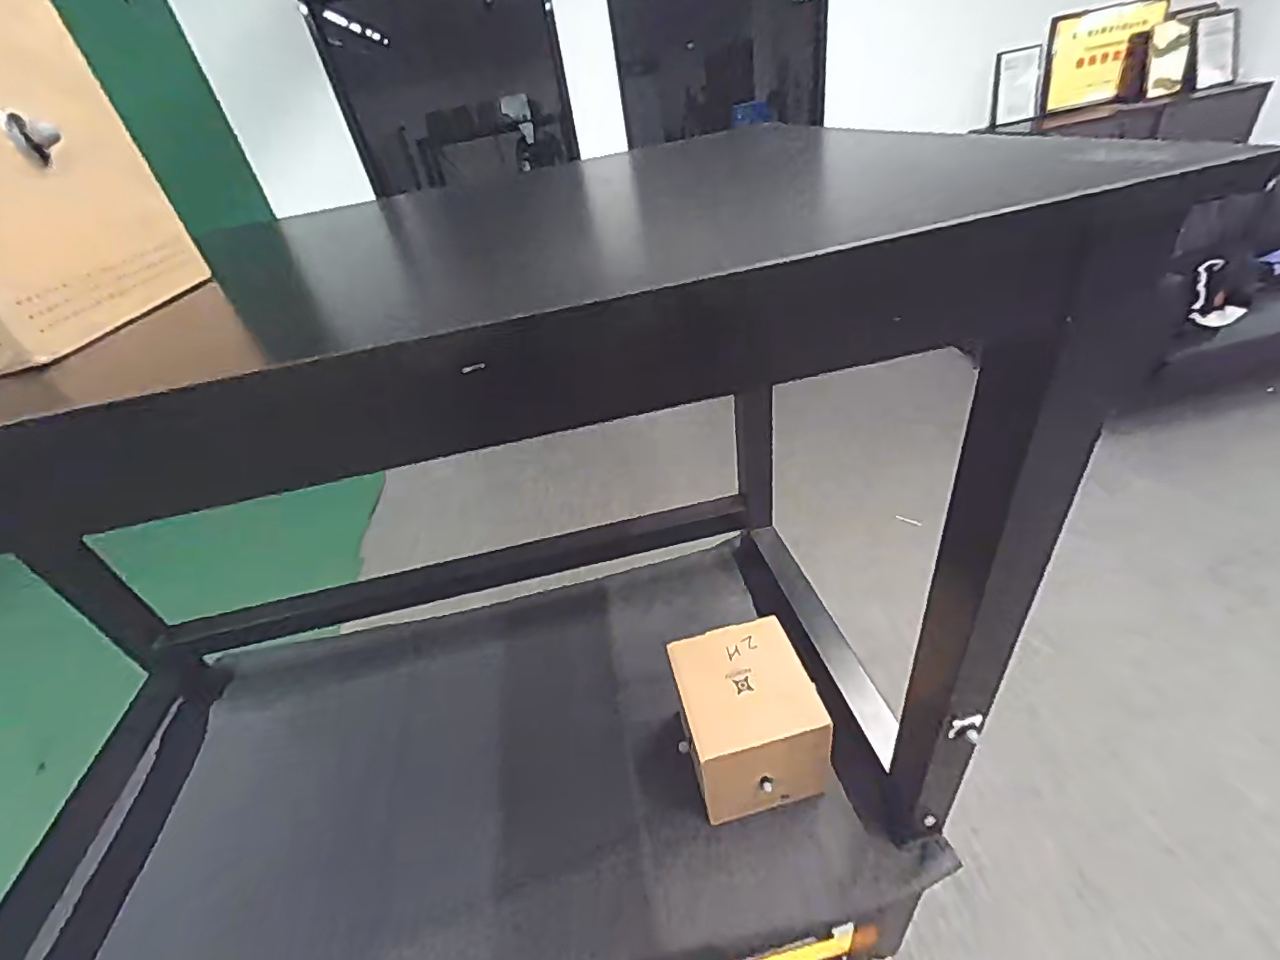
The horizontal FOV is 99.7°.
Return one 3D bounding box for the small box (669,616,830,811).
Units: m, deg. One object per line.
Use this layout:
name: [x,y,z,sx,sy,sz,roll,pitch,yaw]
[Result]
small box: [0.147,0.326,0.749,0.168,0.176,0.179,-14,34,-4]
